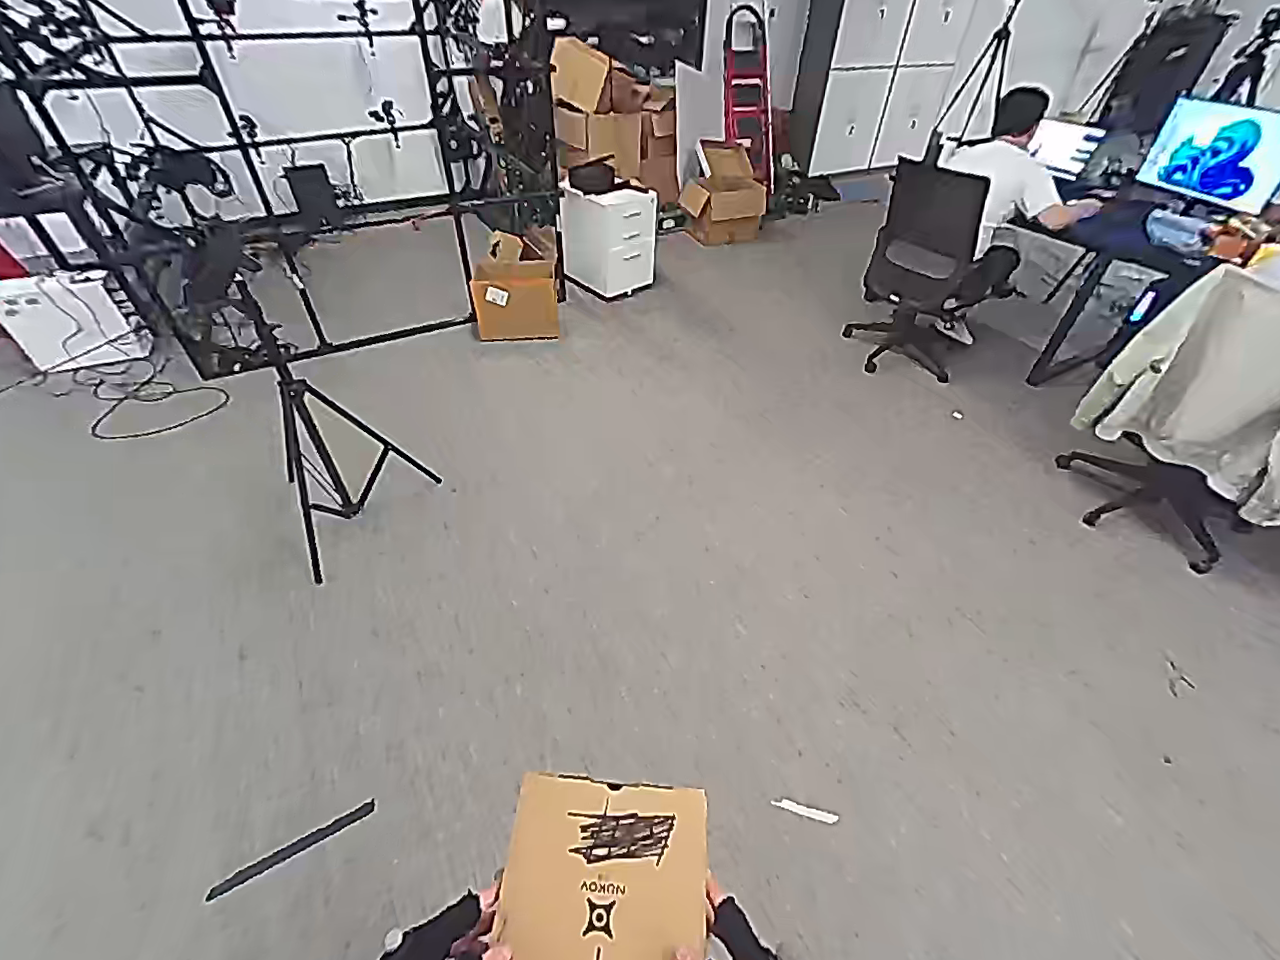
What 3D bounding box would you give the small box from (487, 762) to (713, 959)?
[{"bbox_3d":[-0.031,0.371,0.477,0.168,0.176,0.179,5,50,1],"label":"small box"}]
